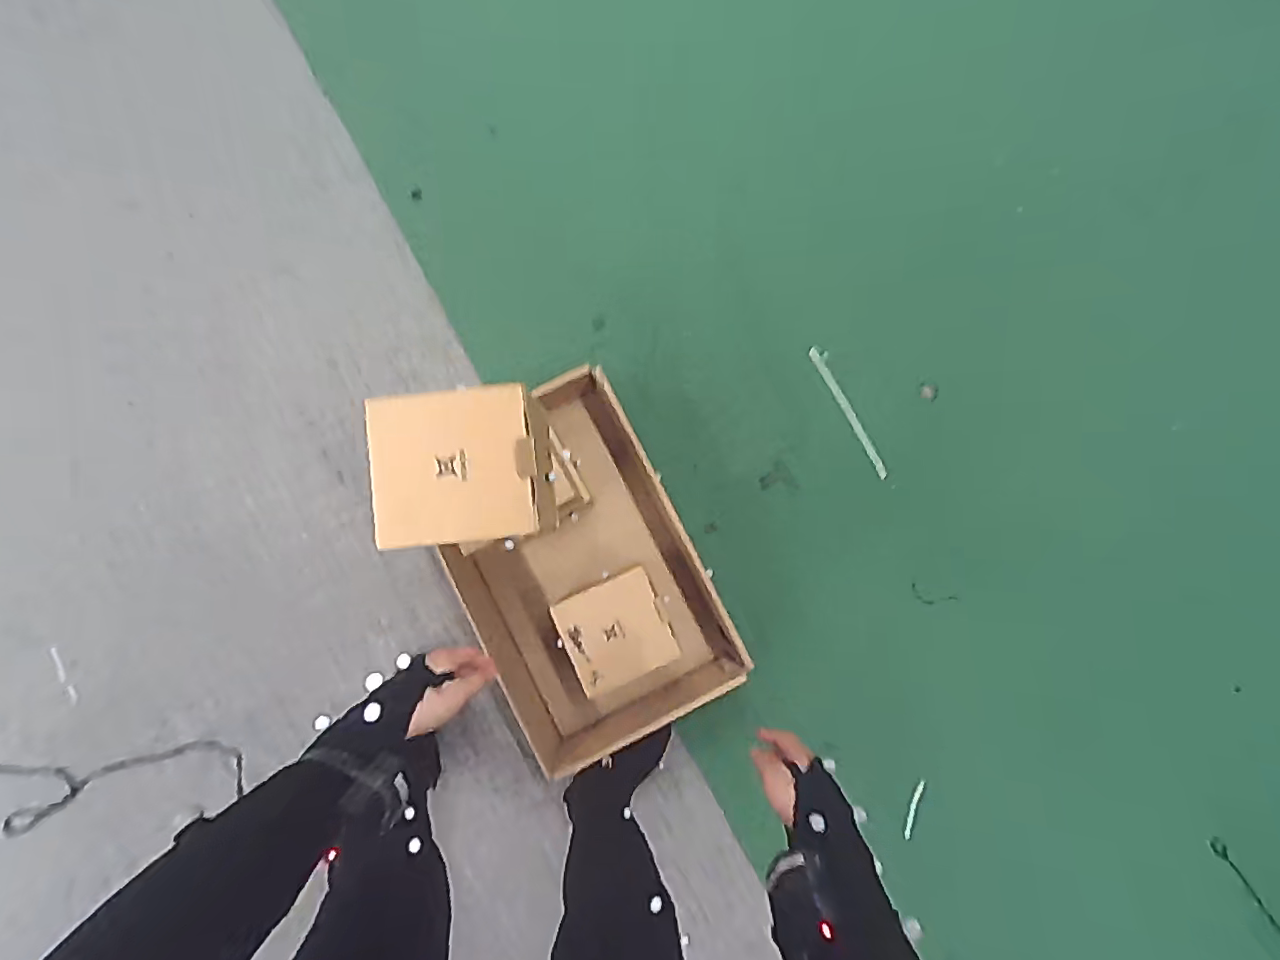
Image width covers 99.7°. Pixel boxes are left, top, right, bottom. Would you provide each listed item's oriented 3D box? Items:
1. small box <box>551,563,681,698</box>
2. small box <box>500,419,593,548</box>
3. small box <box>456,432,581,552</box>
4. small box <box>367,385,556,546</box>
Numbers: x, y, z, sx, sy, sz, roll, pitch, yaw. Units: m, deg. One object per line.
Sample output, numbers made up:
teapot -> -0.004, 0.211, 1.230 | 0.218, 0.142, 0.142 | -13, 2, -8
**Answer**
small box -> -0.043, 0.258, 0.976 | 0.179, 0.176, 0.168 | -23, 86, -3
small box -> -0.197, 0.010, 0.989 | 0.179, 0.176, 0.168 | -29, 87, -4
small box -> -0.205, -0.003, 0.827 | 0.179, 0.176, 0.168 | -28, 88, -4
small box -> -0.206, -0.009, 0.664 | 0.179, 0.176, 0.168 | -6, 86, -3
